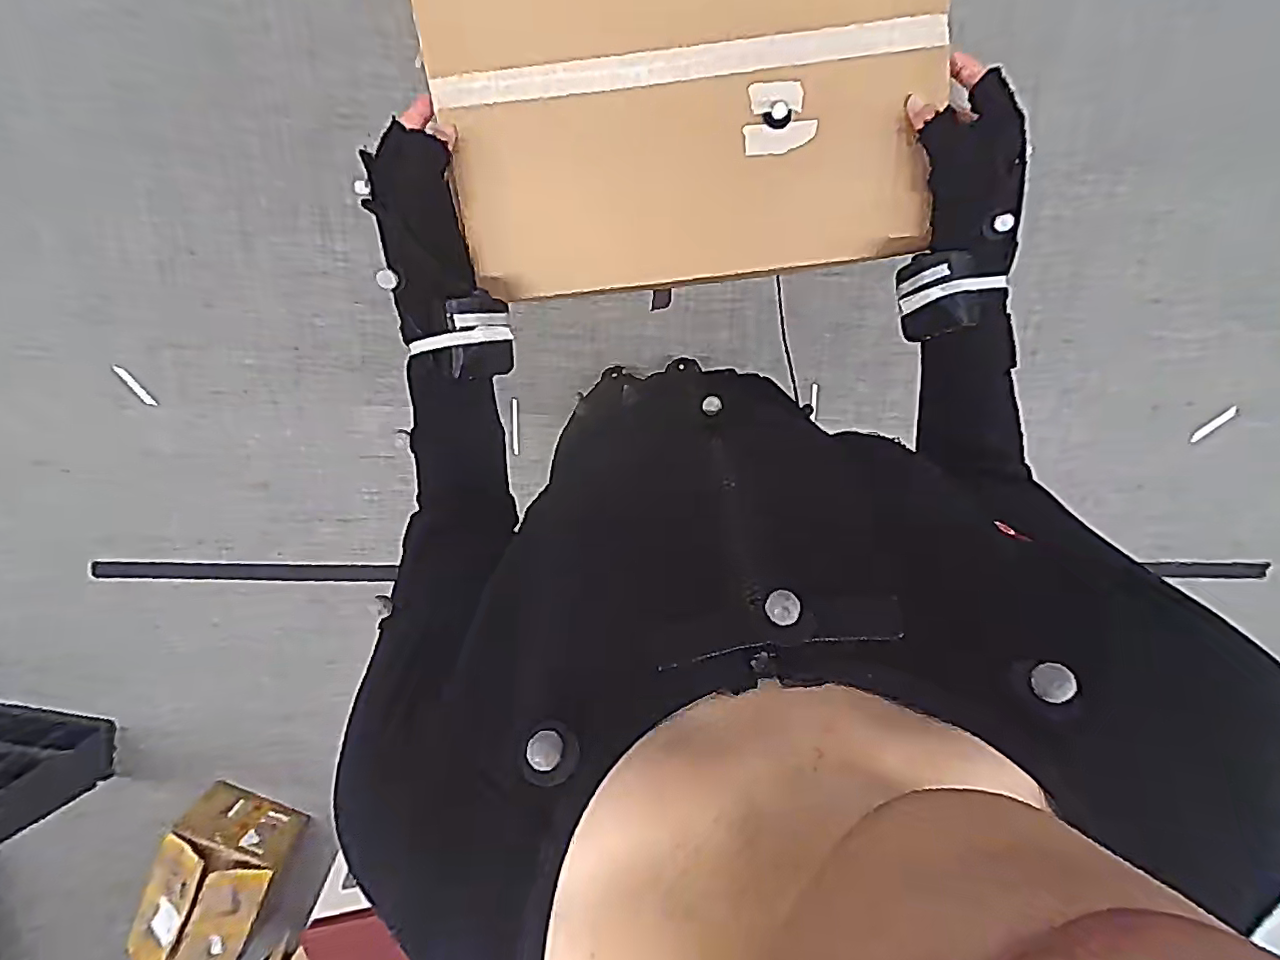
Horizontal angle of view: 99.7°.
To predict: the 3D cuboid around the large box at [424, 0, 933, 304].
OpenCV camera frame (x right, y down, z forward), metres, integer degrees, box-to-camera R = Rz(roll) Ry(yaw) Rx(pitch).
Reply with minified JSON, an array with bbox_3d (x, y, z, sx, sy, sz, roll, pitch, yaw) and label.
[{"bbox_3d":[0.031,-0.375,0.579,0.408,0.320,0.320,-6,108,0],"label":"large box"}]
